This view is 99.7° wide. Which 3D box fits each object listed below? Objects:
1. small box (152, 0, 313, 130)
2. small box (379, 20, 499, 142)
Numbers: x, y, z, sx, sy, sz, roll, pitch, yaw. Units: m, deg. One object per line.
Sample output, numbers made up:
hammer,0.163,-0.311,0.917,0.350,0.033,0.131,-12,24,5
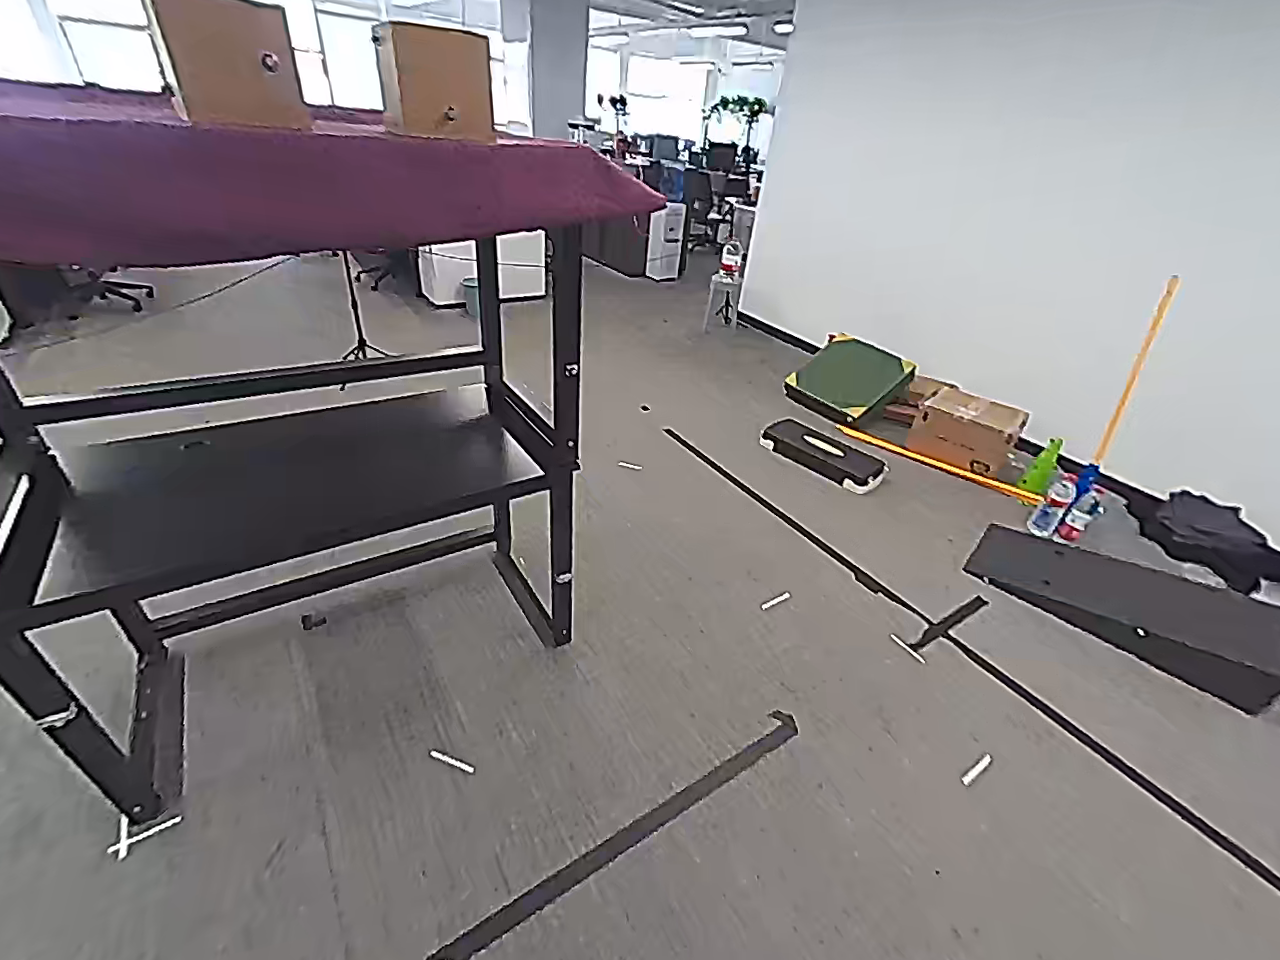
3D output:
small box,-0.660,-0.682,0.888,0.179,0.176,0.168,-21,41,-34
small box,-0.380,-0.752,1.035,0.179,0.176,0.168,-15,38,-30
